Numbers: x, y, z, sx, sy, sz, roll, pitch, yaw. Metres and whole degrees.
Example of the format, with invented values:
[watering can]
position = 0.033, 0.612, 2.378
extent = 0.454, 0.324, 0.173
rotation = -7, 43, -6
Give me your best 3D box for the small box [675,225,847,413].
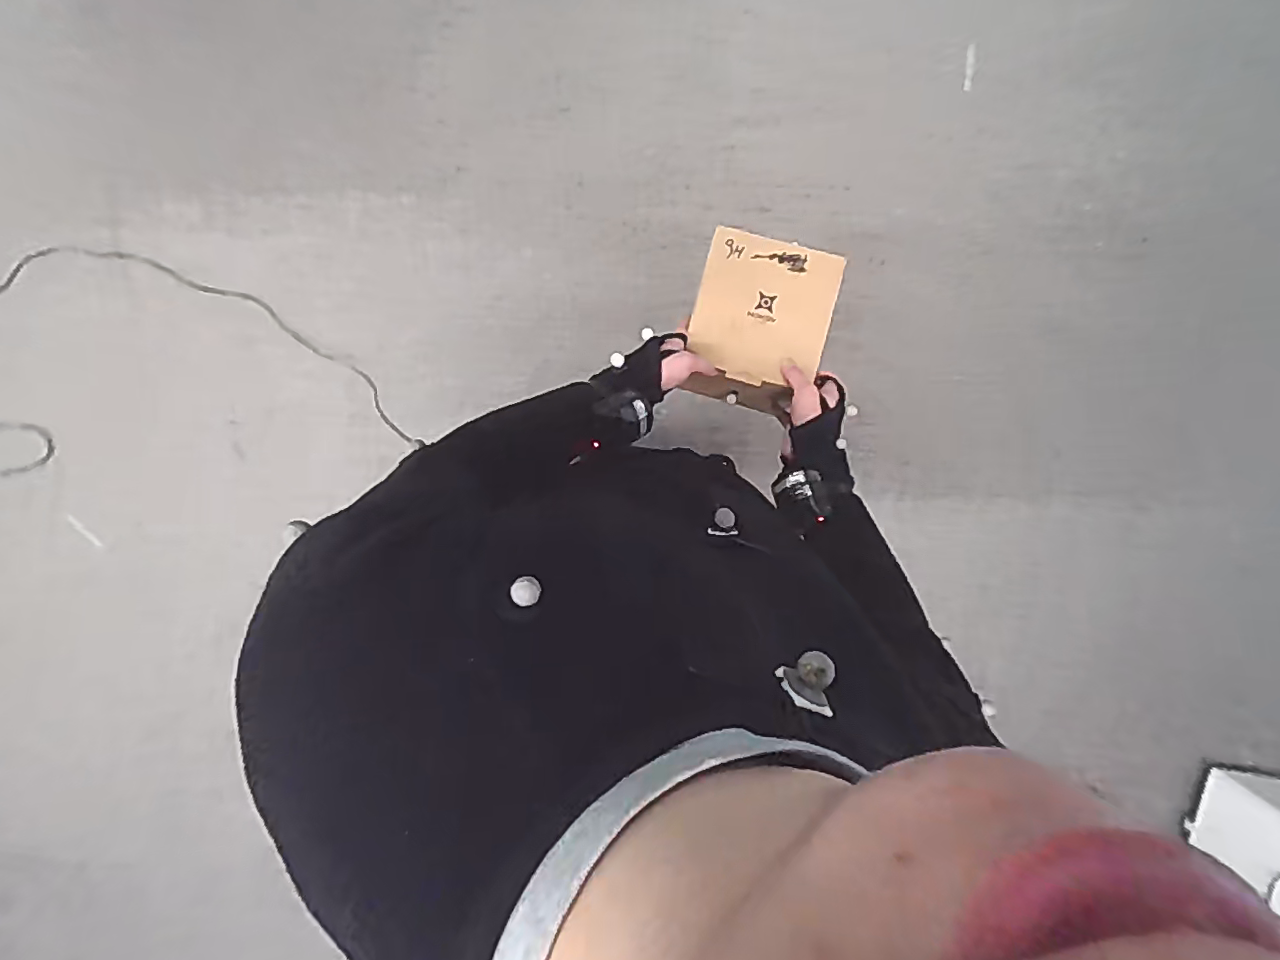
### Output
[small box]
position = 0.148, -0.198, 0.719
extent = 0.168, 0.176, 0.179
rotation = 16, 89, 2
